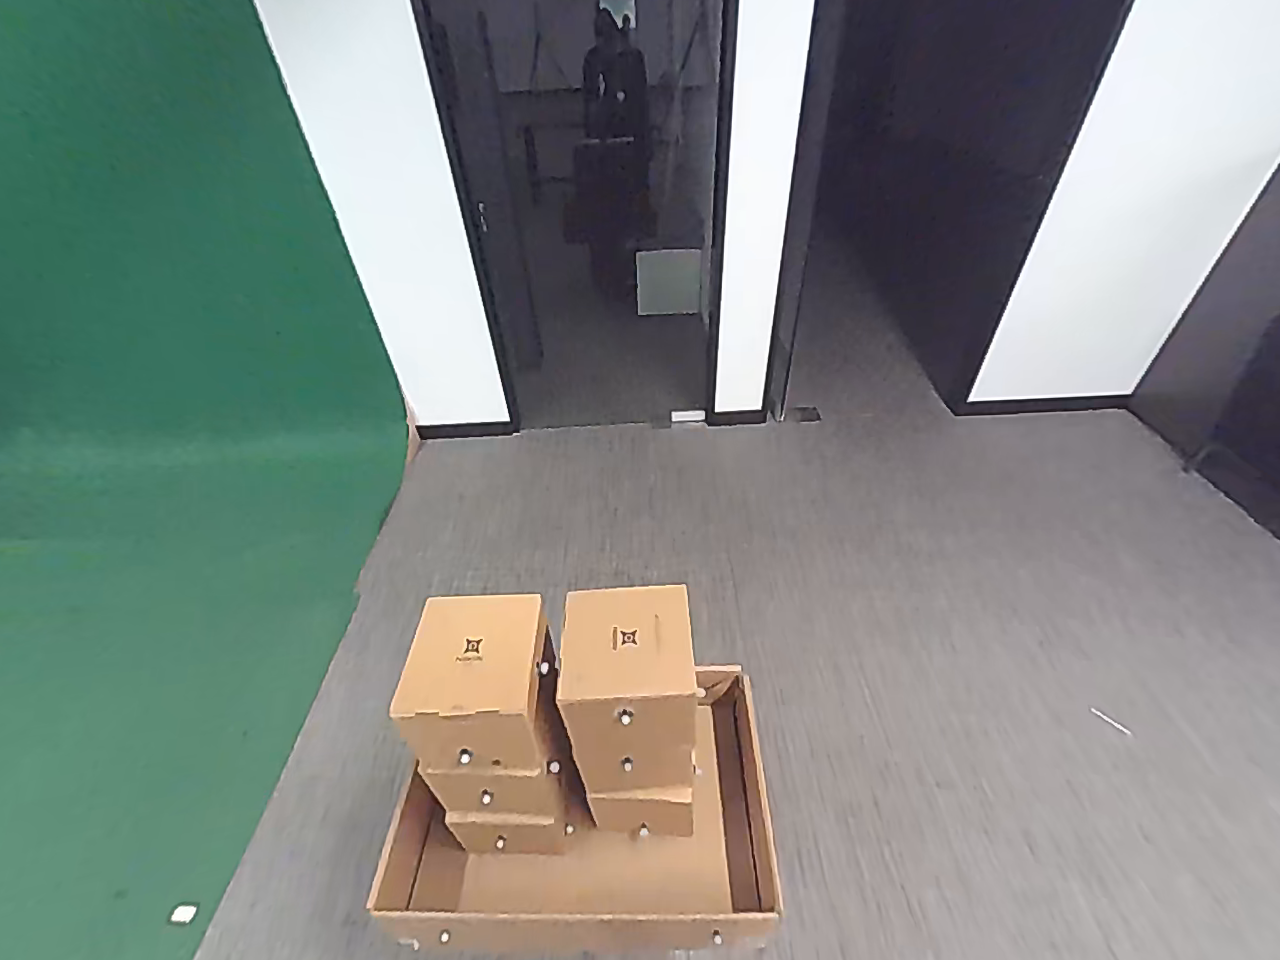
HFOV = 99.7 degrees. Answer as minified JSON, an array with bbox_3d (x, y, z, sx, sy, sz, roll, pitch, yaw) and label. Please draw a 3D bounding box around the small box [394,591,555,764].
[{"bbox_3d":[-0.217,0.278,0.766,0.168,0.176,0.179,-2,41,0],"label":"small box"}]
